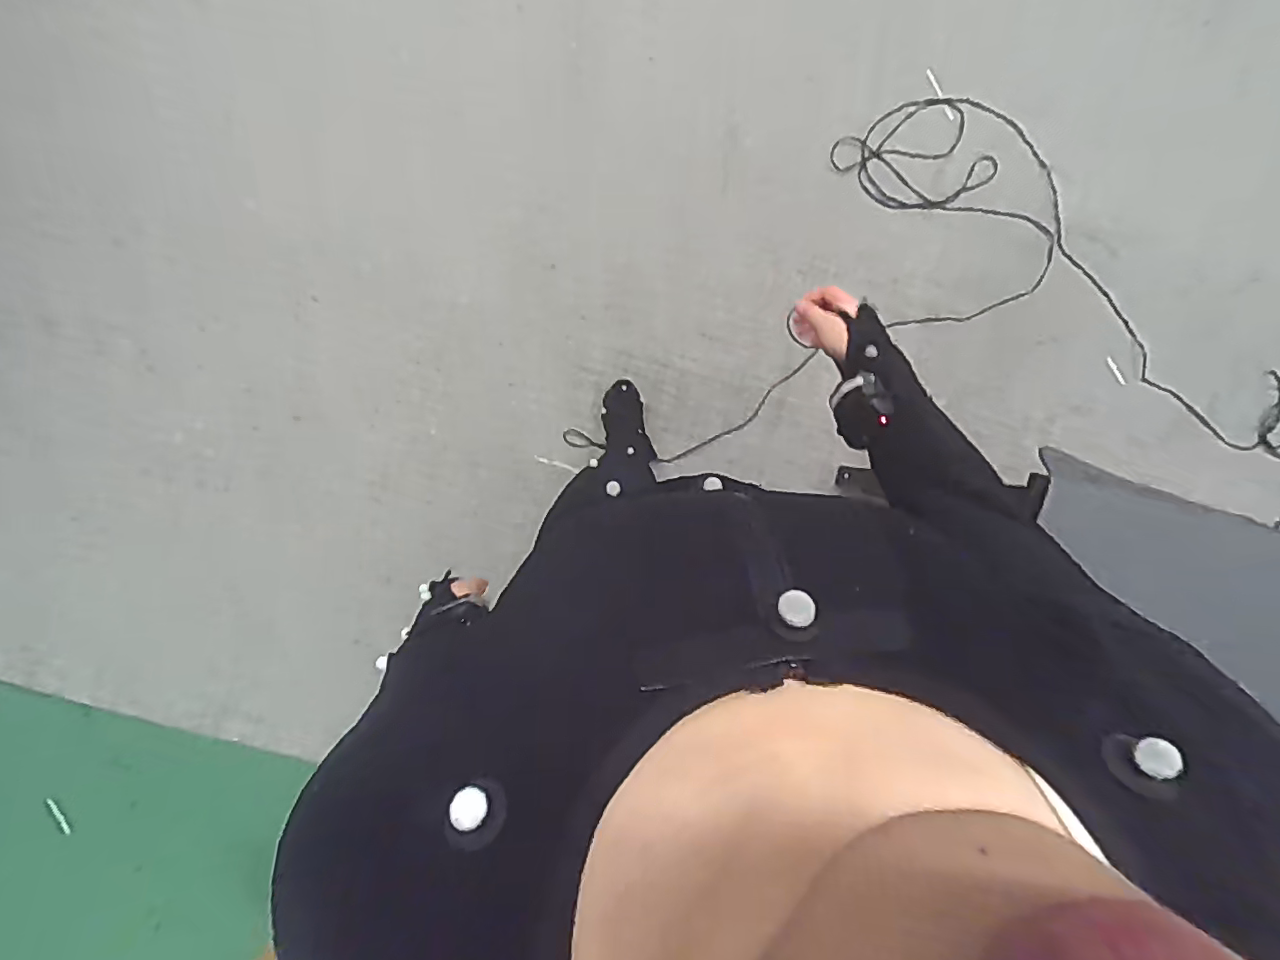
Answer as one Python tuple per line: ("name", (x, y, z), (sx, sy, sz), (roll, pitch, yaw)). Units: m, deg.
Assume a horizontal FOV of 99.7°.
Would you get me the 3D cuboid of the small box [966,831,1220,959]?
("small box", (0.571, 0.607, 0.707), (0.168, 0.176, 0.179), (18, 92, -4))
